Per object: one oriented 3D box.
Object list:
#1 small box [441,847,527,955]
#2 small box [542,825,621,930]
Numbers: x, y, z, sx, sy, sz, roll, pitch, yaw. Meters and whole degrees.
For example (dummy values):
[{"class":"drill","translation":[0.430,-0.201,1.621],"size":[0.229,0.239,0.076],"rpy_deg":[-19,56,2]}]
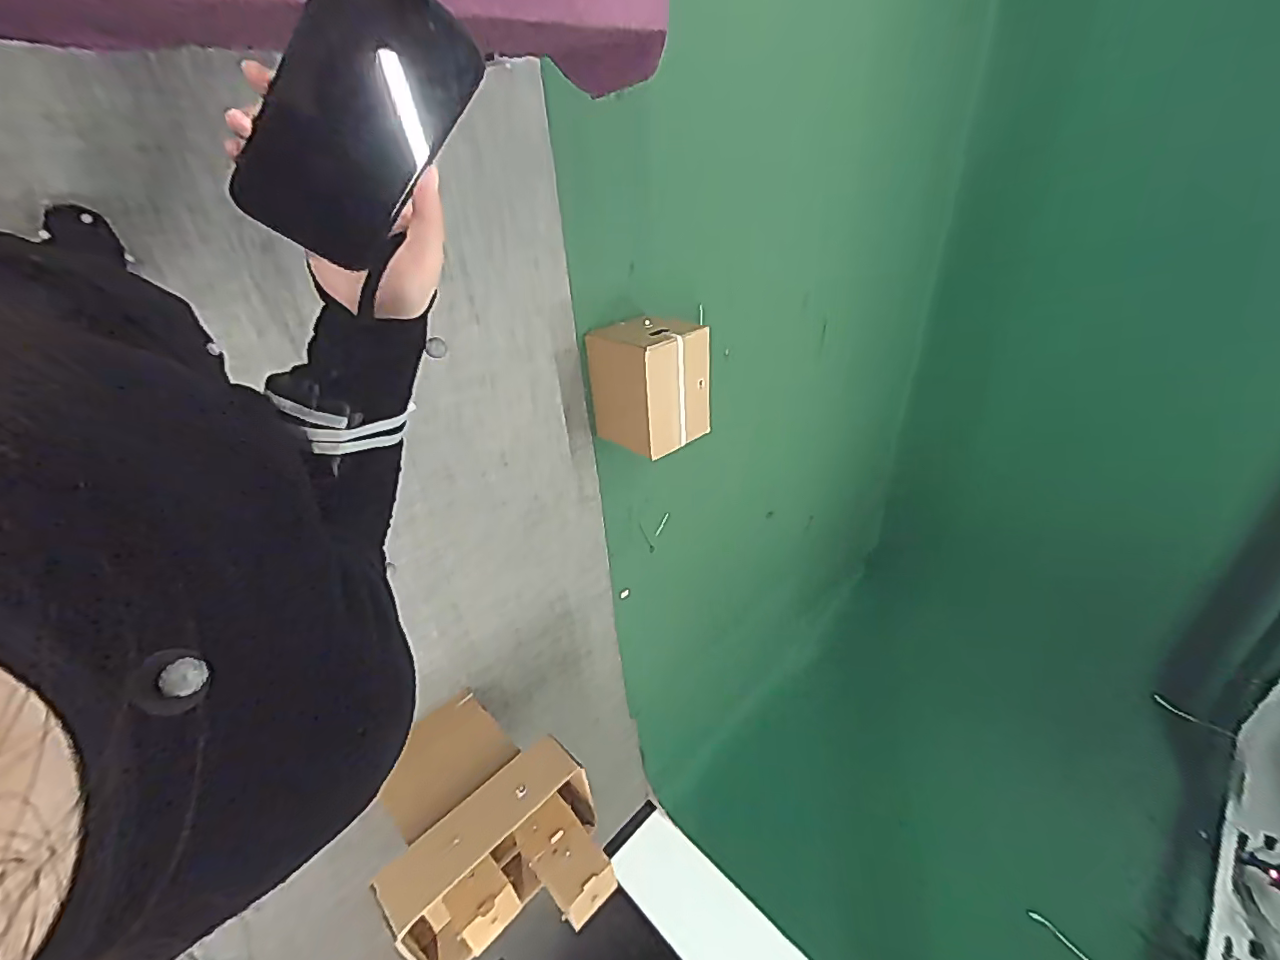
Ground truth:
[{"class":"small box","translation":[-0.472,1.265,1.636],"size":[0.168,0.176,0.179],"rpy_deg":[-32,130,-34]},{"class":"small box","translation":[-0.180,1.218,1.667],"size":[0.168,0.176,0.179],"rpy_deg":[-30,130,-33]}]
